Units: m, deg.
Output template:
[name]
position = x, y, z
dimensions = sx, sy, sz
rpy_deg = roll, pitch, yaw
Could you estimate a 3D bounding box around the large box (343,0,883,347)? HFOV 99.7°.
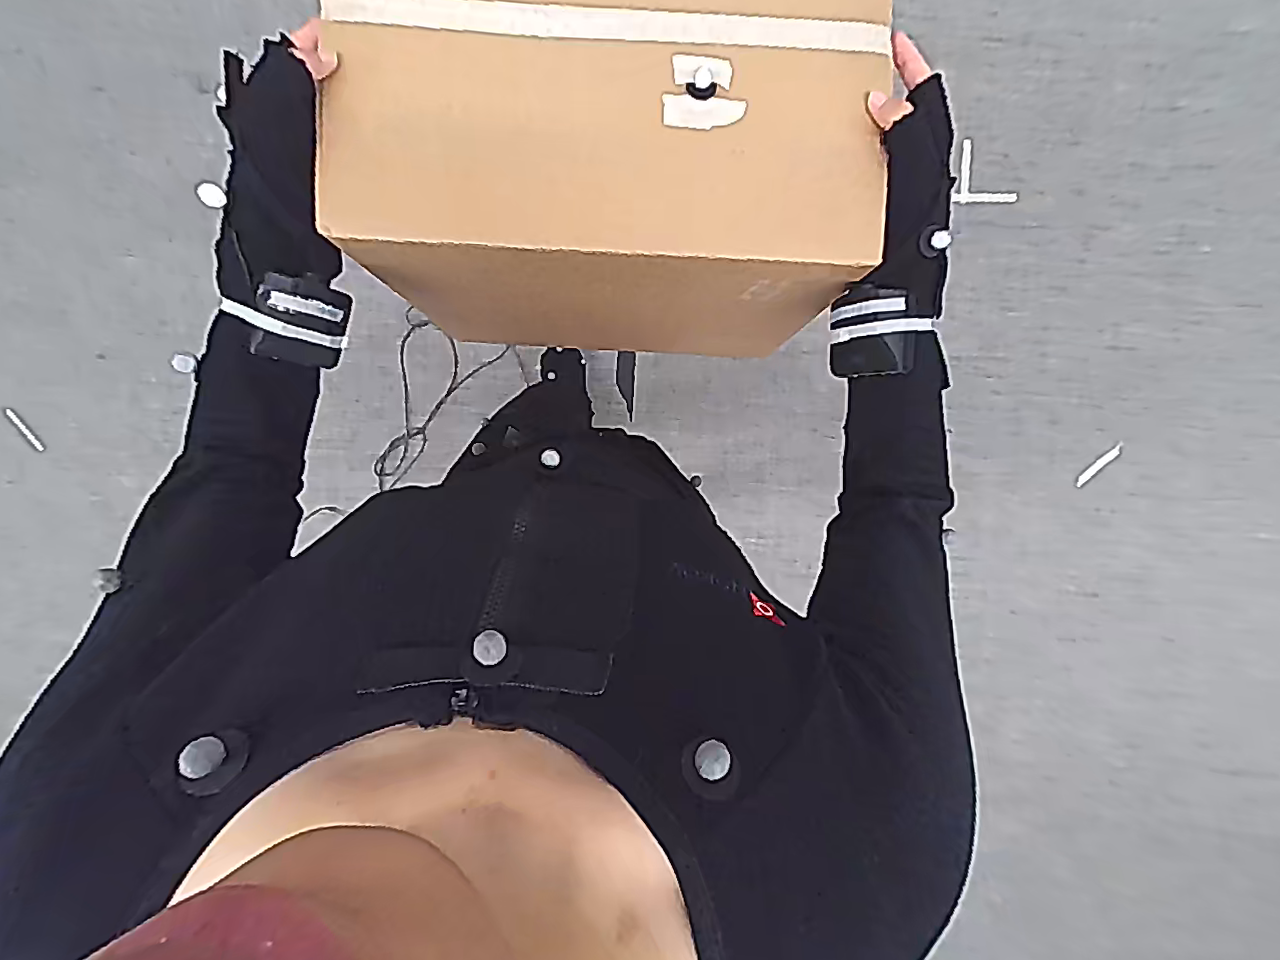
[large box]
position = -0.022, -0.329, 0.551
dimensions = 0.408, 0.320, 0.320
rpy_deg = 2, 91, -2
